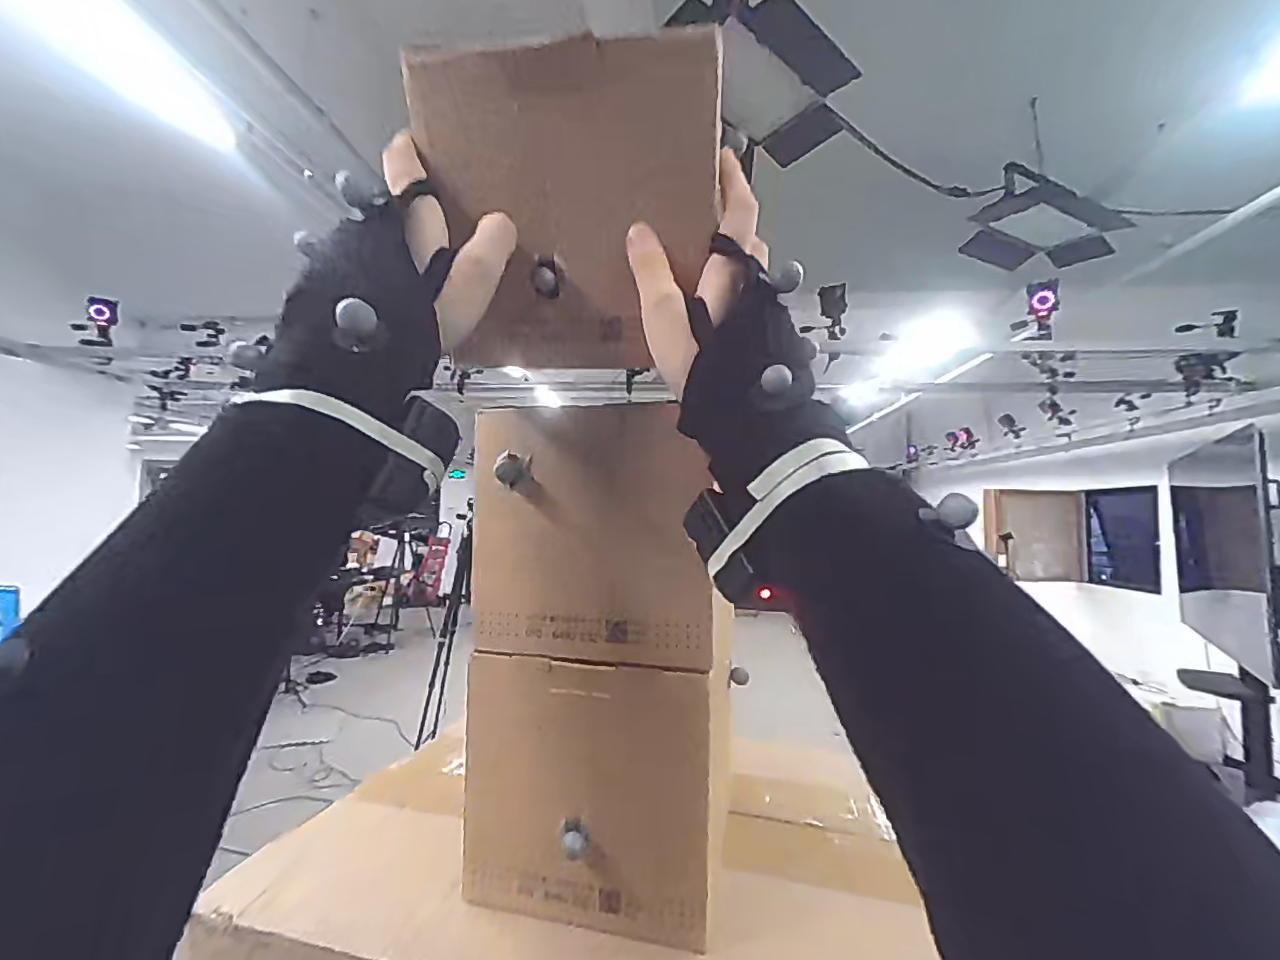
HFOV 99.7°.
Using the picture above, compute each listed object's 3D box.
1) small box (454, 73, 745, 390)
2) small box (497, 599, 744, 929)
[{"bbox_3d":[-0.015,-0.168,0.398,0.168,0.176,0.179,1,22,7],"label":"small box"},{"bbox_3d":[-0.006,0.201,0.438,0.168,0.176,0.179,1,-2,14],"label":"small box"}]
